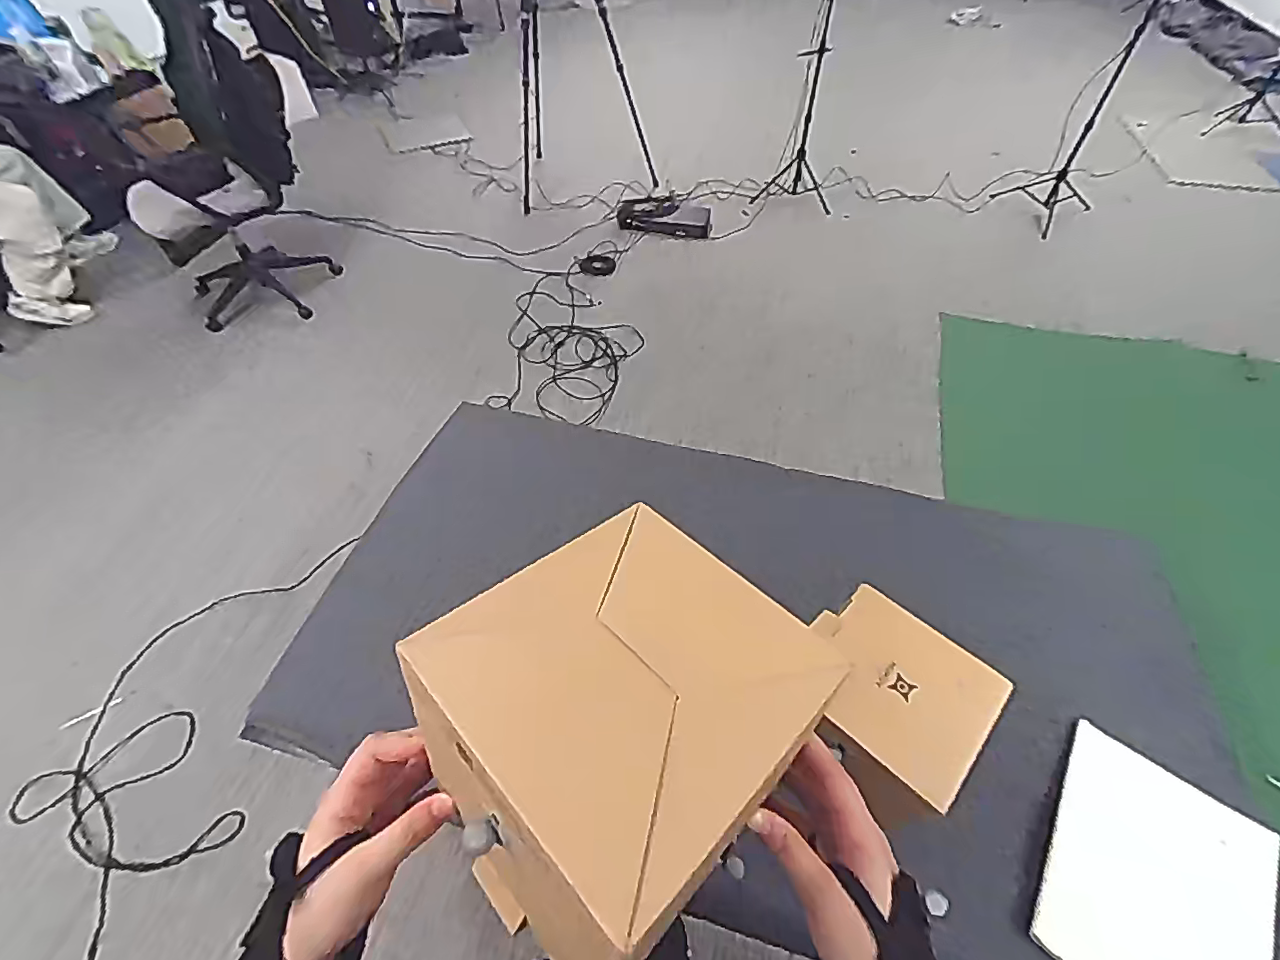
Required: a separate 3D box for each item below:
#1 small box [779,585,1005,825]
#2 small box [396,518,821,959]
[{"bbox_3d":[0.262,0.262,0.622,0.179,0.176,0.168,36,60,27],"label":"small box"},{"bbox_3d":[-0.019,0.147,0.330,0.168,0.176,0.179,35,45,30],"label":"small box"}]
